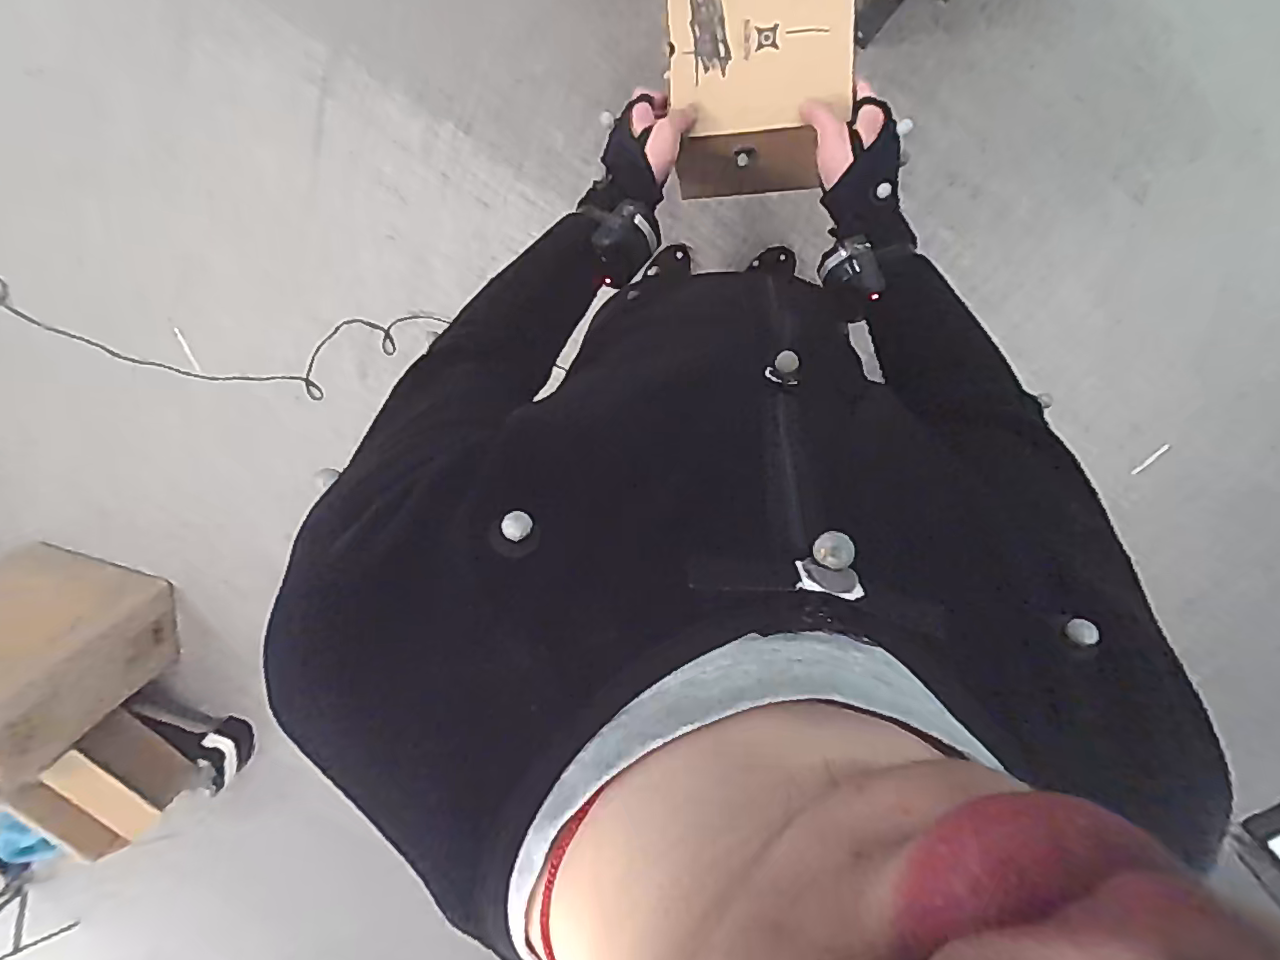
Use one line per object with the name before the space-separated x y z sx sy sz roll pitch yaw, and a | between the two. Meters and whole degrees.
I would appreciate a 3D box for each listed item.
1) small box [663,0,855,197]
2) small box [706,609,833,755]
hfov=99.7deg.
small box | 0.121 -0.422 0.581 0.179 0.176 0.168 -1 99 8
small box | 0.249 0.397 1.077 0.168 0.176 0.179 33 114 -10
